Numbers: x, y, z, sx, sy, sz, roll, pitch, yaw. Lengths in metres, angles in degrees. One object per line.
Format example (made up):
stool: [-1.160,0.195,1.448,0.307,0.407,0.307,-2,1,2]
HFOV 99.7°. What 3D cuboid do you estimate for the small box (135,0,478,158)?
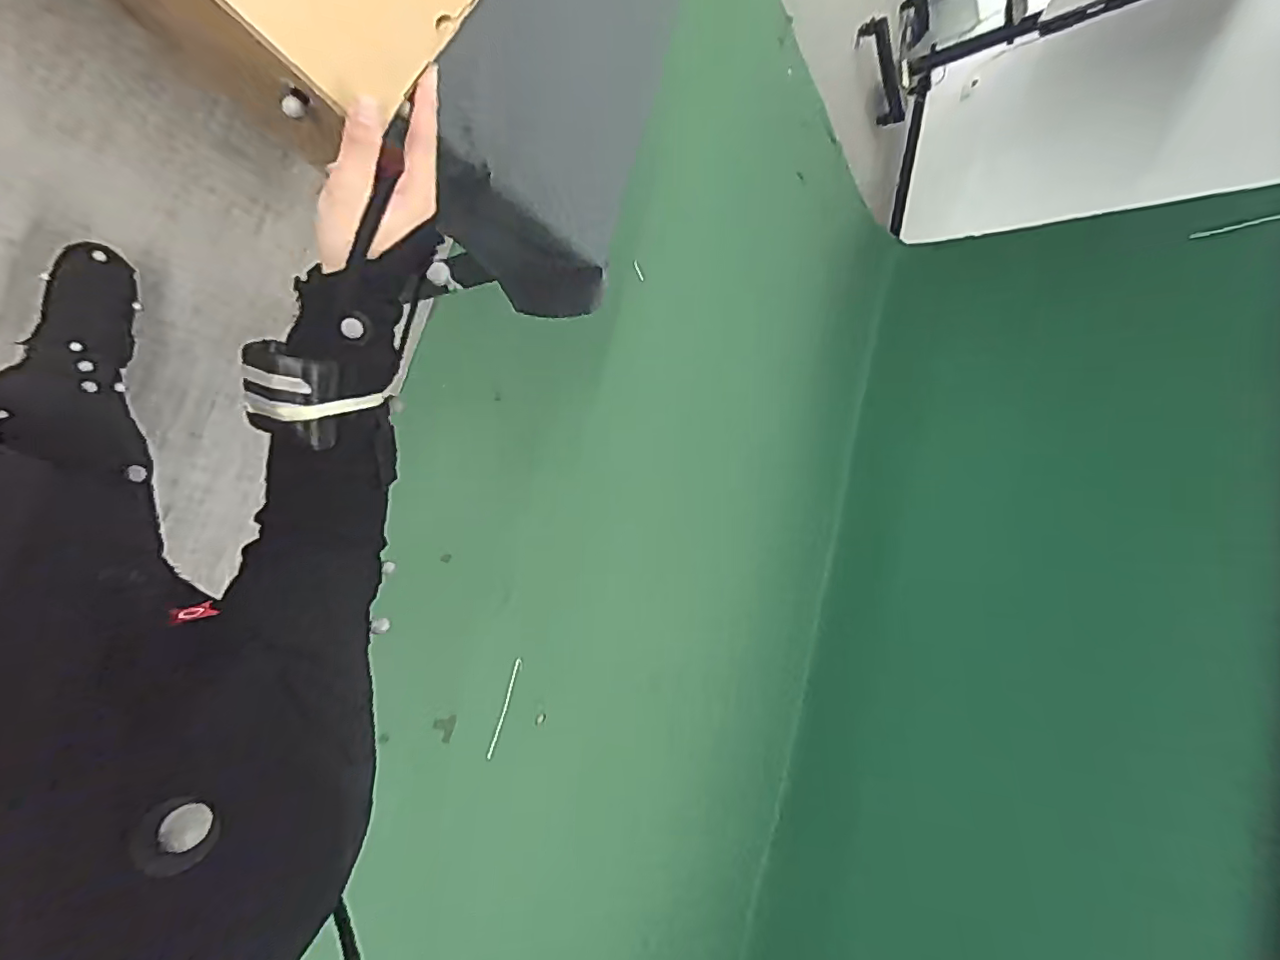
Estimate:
small box: [-0.210,-0.337,0.333,0.179,0.176,0.168,35,84,-41]
